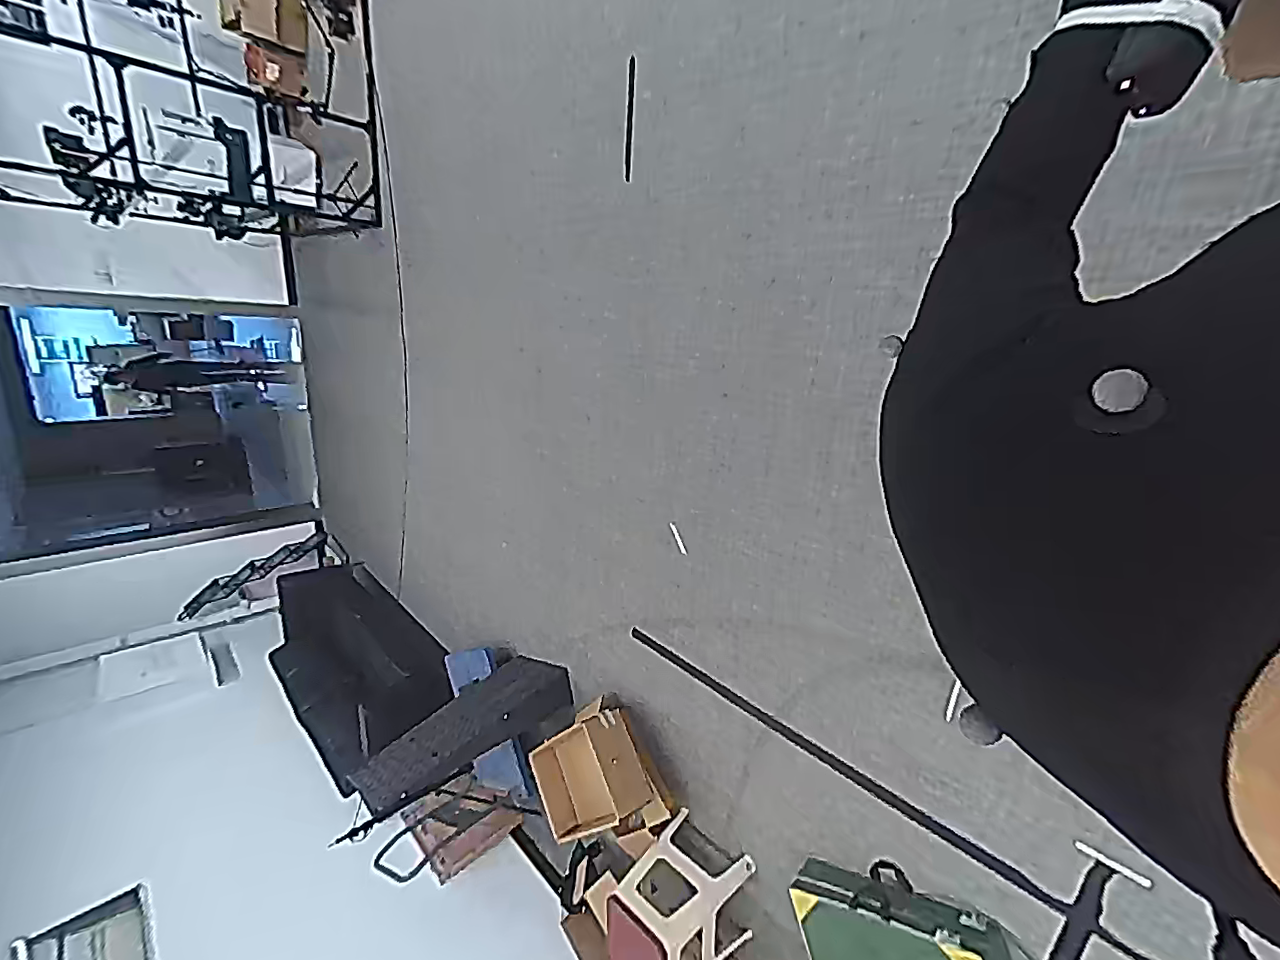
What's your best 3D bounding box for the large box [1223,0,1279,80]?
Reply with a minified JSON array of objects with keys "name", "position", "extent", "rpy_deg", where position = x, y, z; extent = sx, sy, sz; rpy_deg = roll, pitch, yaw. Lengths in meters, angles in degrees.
[{"name":"large box","position":[0.611,-0.447,0.253],"extent":[0.408,0.320,0.320],"rpy_deg":[23,121,42]}]
